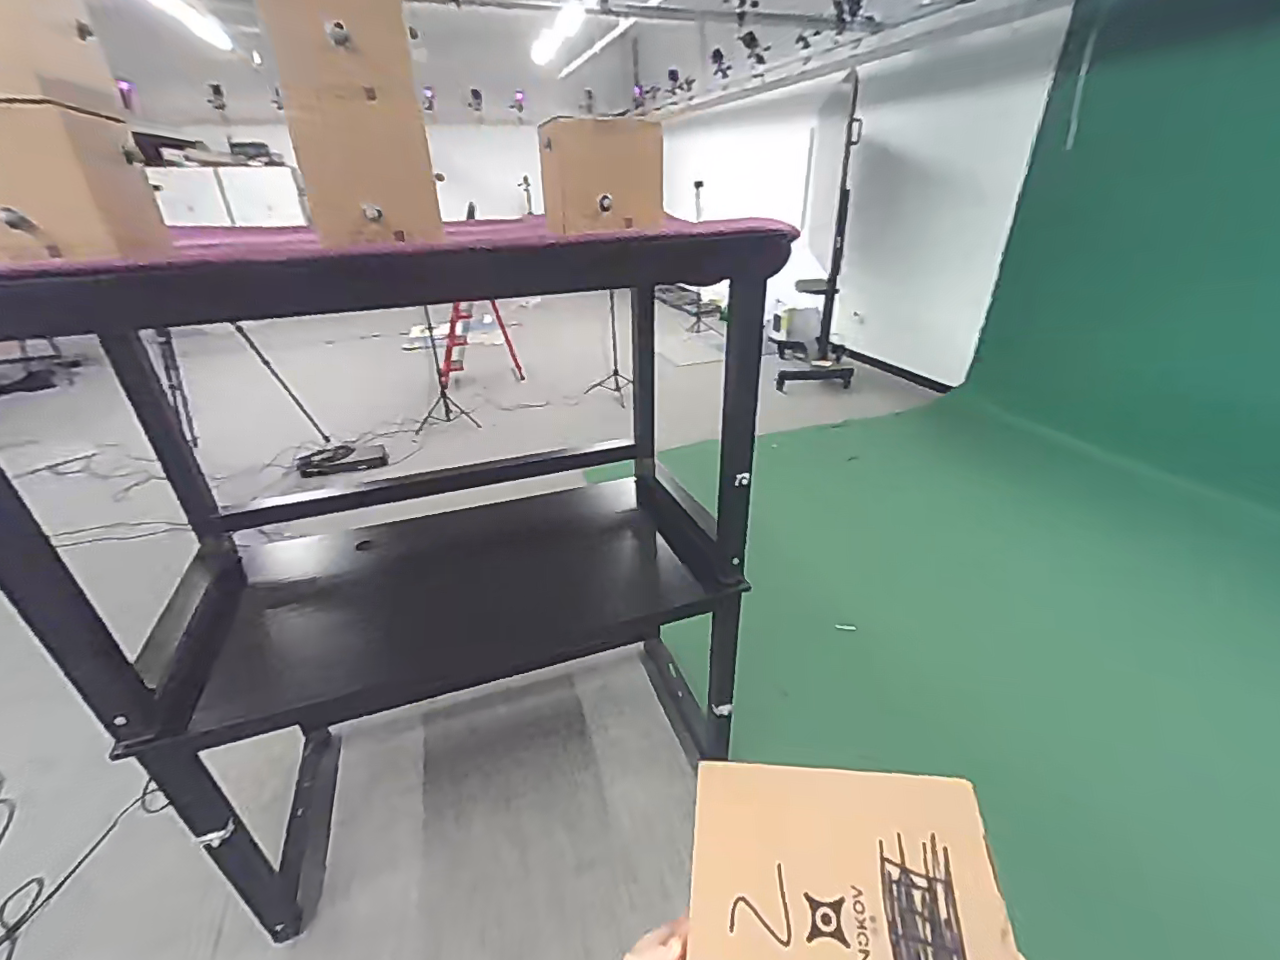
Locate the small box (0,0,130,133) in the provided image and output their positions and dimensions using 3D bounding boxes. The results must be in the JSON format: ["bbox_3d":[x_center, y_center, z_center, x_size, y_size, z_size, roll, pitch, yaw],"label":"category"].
[{"bbox_3d":[-0.727,-0.485,0.600,0.168,0.176,0.179,-11,30,-14],"label":"small box"}]

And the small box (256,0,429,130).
[{"bbox_3d":[-0.386,-0.564,0.726,0.168,0.176,0.179,-11,31,-15],"label":"small box"}]

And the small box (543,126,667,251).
[{"bbox_3d":[-0.061,-0.479,0.895,0.168,0.176,0.179,-10,31,-14],"label":"small box"}]

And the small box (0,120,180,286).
[{"bbox_3d":[-0.726,-0.342,0.676,0.168,0.176,0.179,-11,29,-16],"label":"small box"}]

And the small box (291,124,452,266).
[{"bbox_3d":[-0.379,-0.416,0.797,0.168,0.176,0.179,-11,31,-15],"label":"small box"}]
